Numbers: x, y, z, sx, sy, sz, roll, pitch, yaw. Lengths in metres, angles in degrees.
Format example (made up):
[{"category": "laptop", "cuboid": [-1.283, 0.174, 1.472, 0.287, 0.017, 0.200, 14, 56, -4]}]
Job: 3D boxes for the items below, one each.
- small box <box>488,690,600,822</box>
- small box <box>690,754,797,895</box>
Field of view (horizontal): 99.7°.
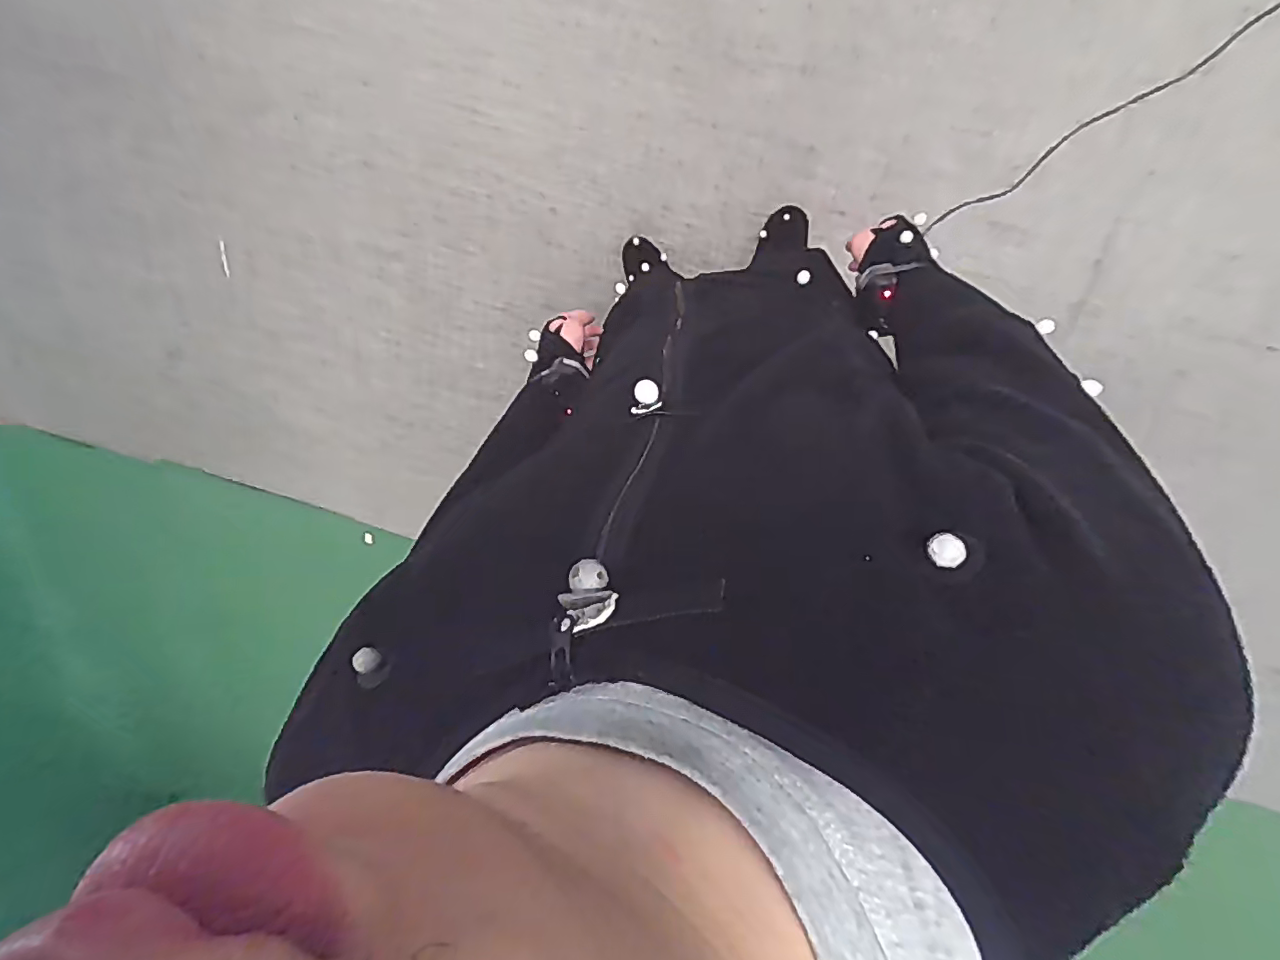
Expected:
[{"category": "small box", "cuboid": [-0.200, 0.583, 1.158, 0.179, 0.176, 0.168, 20, 121, 2]}, {"category": "small box", "cuboid": [0.217, 0.707, 1.124, 0.179, 0.176, 0.168, 16, 120, 7]}]
